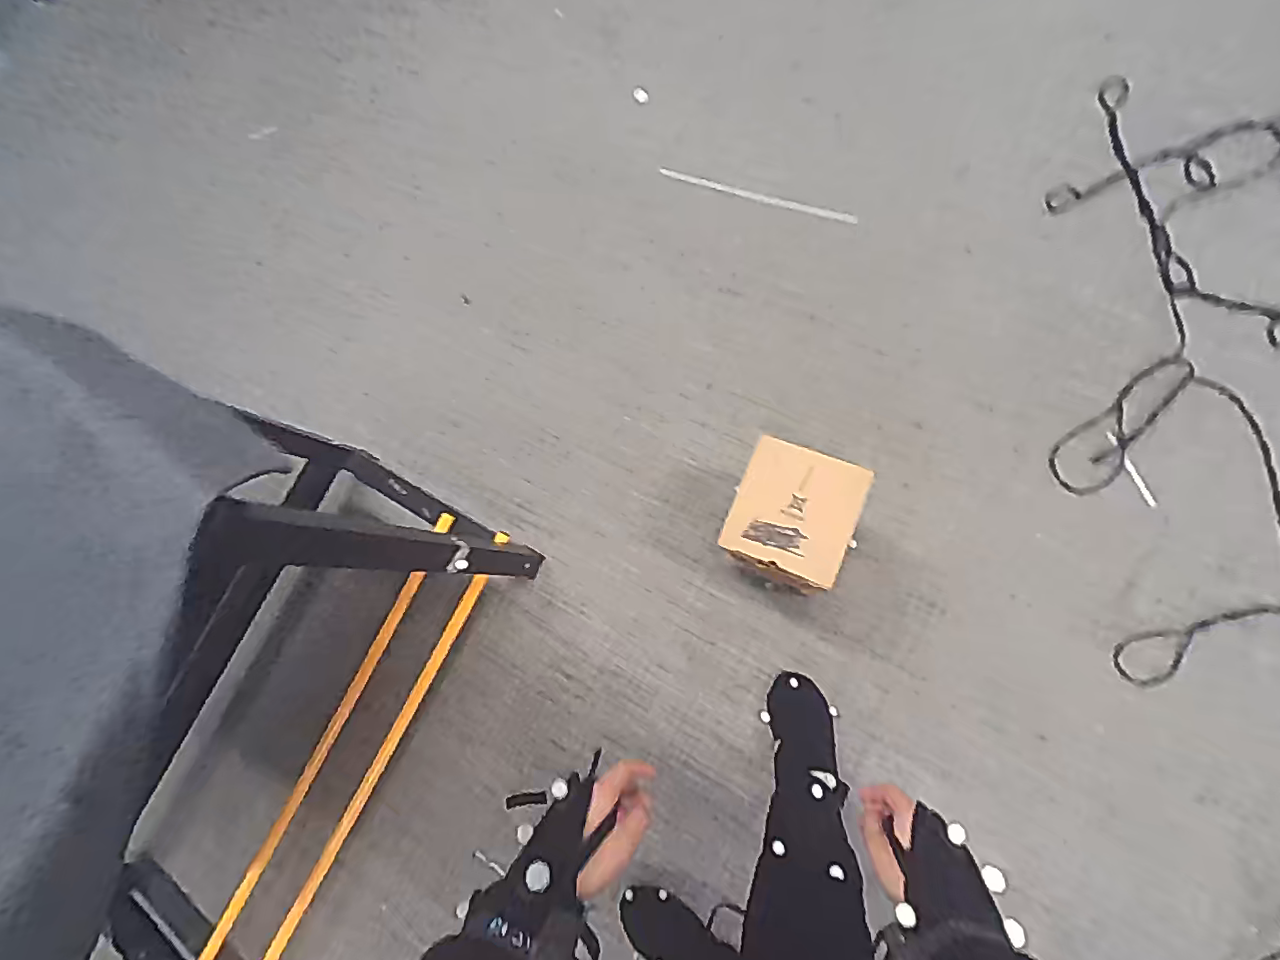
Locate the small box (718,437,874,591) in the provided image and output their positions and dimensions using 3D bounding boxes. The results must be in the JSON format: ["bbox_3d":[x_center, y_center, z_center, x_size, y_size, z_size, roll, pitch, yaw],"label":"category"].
[{"bbox_3d":[0.236,0.060,0.827,0.168,0.176,0.179,21,83,18],"label":"small box"}]

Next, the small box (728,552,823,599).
[{"bbox_3d":[0.271,0.104,0.982,0.168,0.176,0.179,20,85,19],"label":"small box"}]
